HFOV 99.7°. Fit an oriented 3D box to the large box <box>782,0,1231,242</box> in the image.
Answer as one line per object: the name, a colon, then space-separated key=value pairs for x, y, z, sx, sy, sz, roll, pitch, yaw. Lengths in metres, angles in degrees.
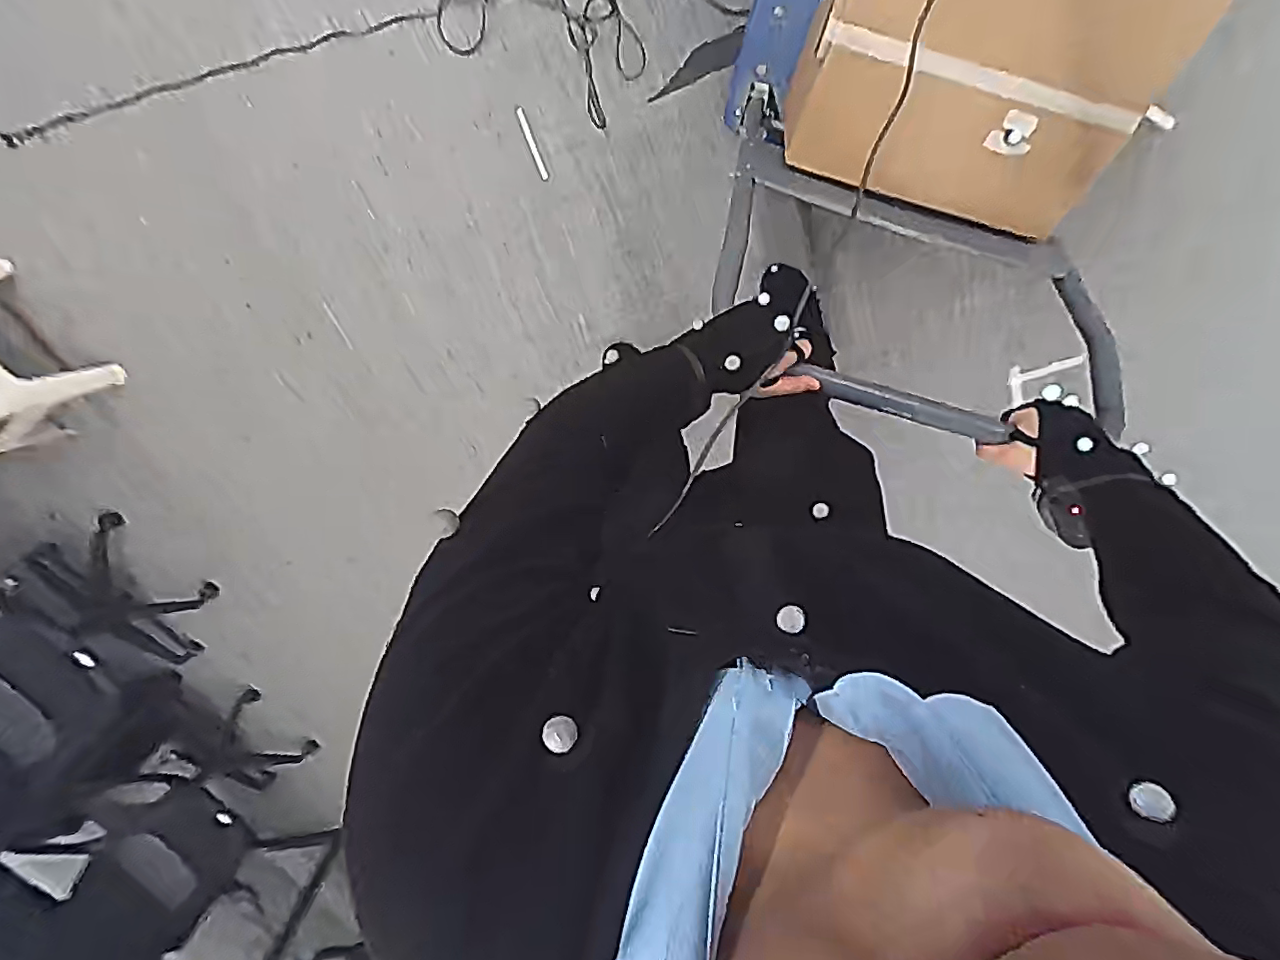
large box: x=0.452 y=-0.602 z=0.773 sx=0.408 sy=0.320 sz=0.320 roll=15 pitch=139 yaw=-3
